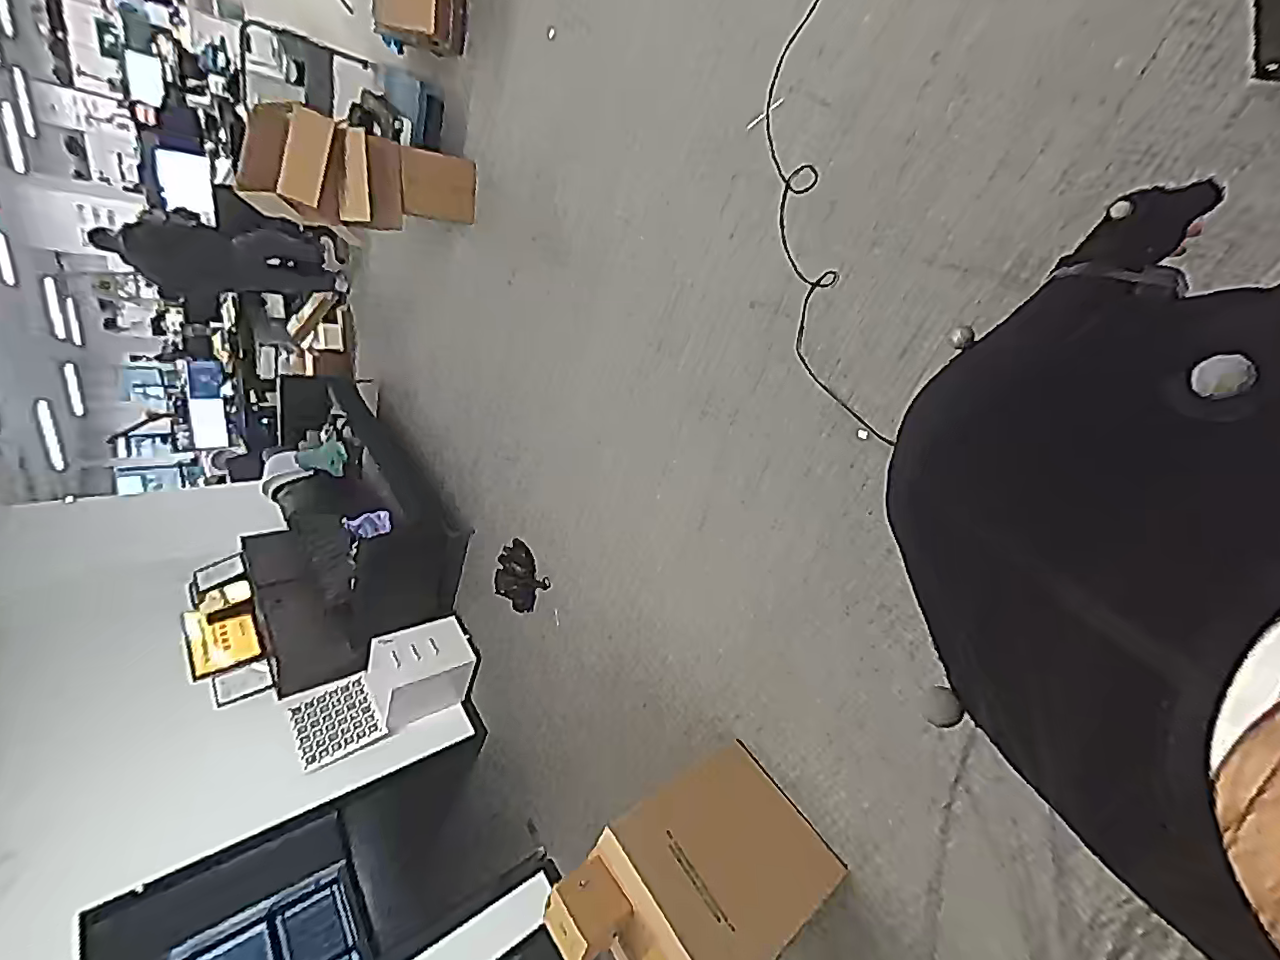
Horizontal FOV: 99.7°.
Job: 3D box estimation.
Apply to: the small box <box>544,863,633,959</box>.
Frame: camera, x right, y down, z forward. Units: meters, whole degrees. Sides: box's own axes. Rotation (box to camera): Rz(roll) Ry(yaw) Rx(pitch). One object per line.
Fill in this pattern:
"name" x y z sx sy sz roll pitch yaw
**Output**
"small box" -0.152 1.273 1.586 0.179 0.176 0.168 35 118 39
